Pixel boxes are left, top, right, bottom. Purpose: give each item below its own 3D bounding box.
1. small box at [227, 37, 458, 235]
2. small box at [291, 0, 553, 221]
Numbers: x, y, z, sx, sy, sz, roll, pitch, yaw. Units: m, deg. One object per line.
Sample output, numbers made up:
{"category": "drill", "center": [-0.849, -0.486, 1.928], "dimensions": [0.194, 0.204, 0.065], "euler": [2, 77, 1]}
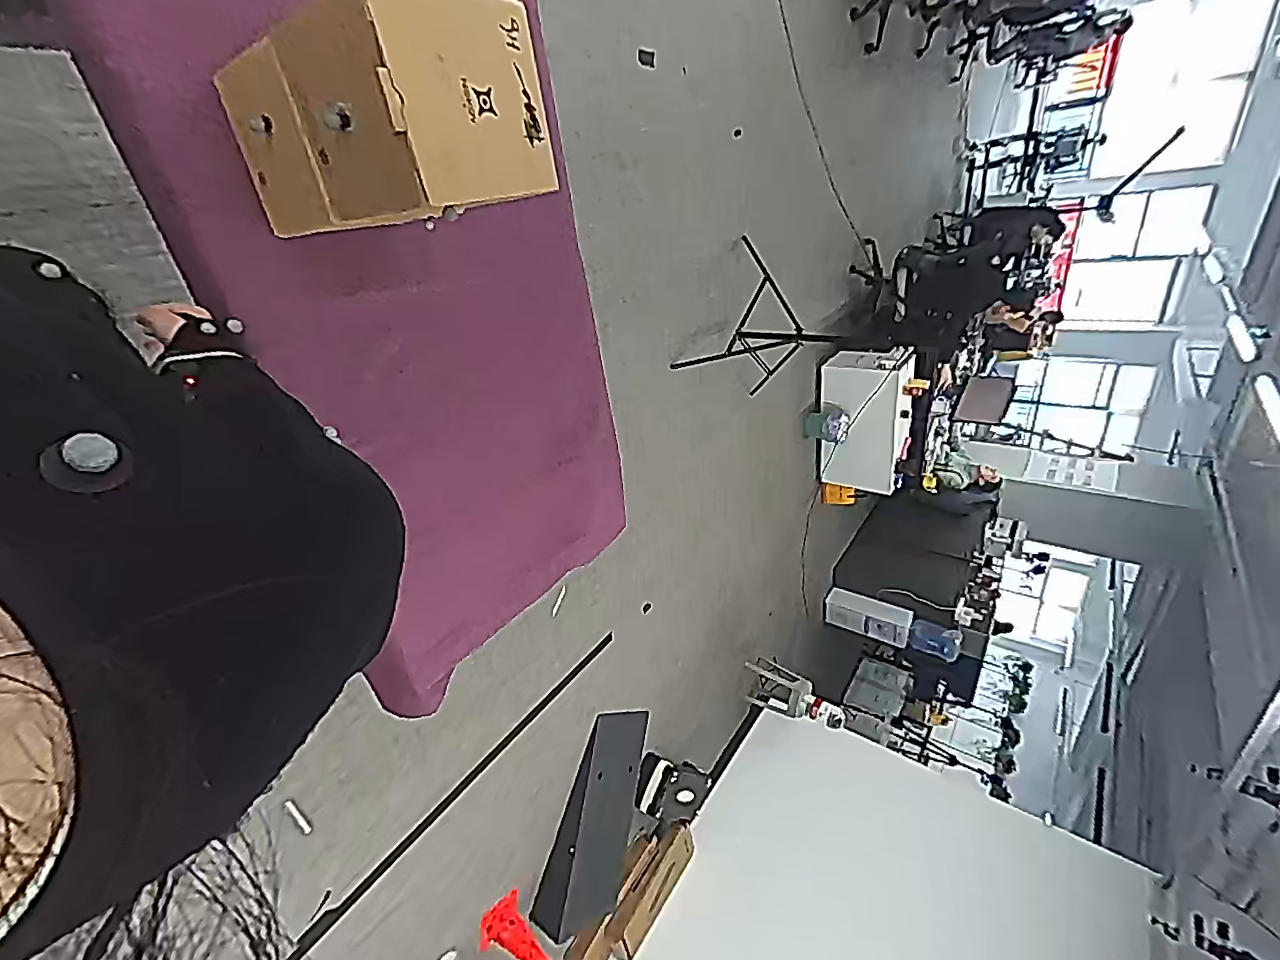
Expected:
{"category": "small box", "center": [-0.356, -0.399, 0.651], "dimensions": [0.179, 0.176, 0.168], "euler": [-37, 129, -43]}
{"category": "small box", "center": [-0.223, -0.372, 0.559], "dimensions": [0.179, 0.176, 0.168], "euler": [-37, 130, -42]}
